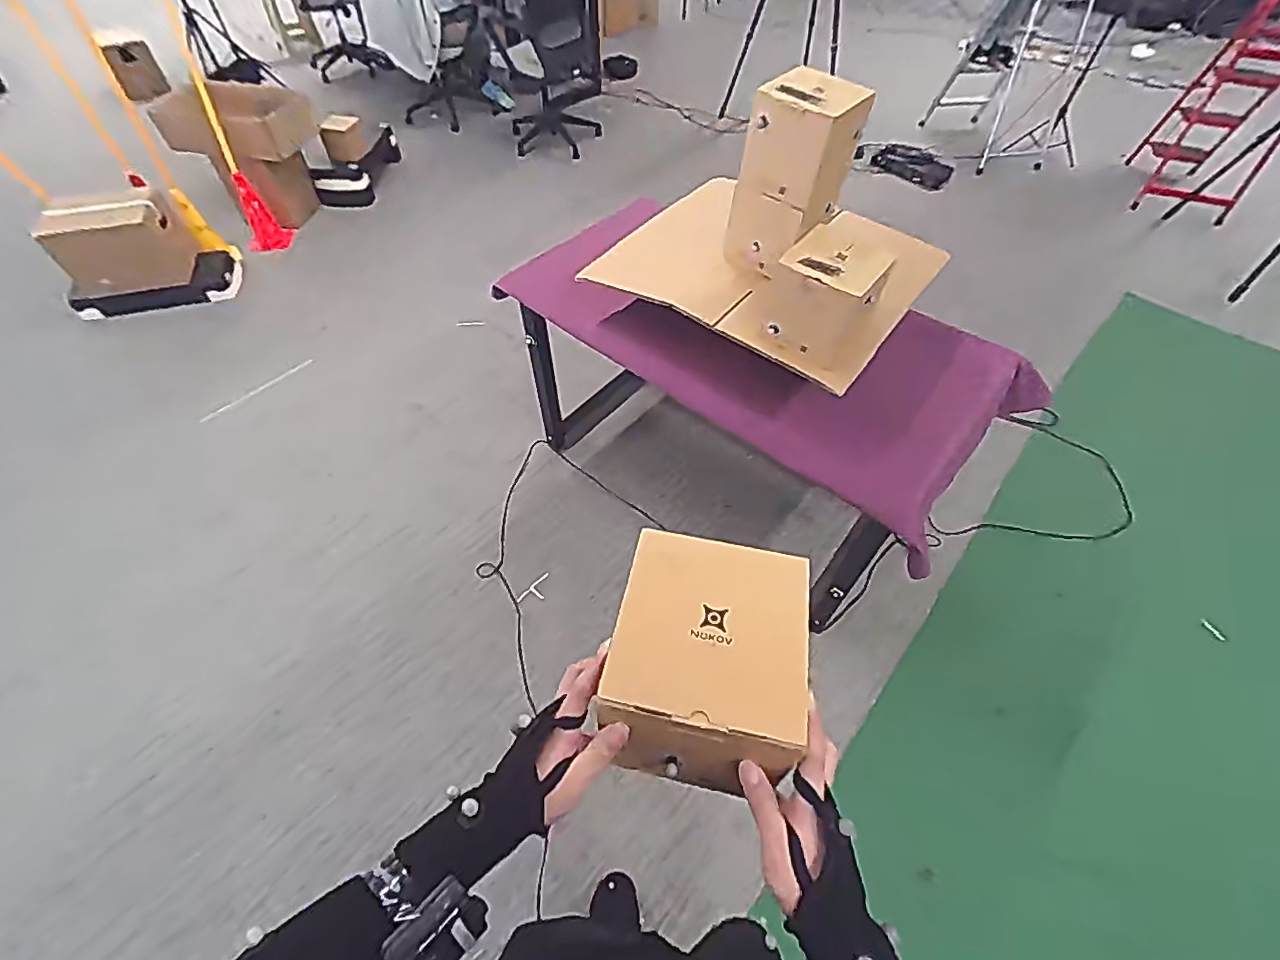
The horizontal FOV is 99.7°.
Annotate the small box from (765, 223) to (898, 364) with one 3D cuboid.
[{"bbox_3d":[0.360,-0.358,1.050,0.168,0.176,0.179,34,60,19],"label":"small box"}]

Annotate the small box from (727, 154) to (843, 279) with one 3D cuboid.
[{"bbox_3d":[0.312,-0.581,1.200,0.168,0.176,0.179,35,61,19],"label":"small box"}]
